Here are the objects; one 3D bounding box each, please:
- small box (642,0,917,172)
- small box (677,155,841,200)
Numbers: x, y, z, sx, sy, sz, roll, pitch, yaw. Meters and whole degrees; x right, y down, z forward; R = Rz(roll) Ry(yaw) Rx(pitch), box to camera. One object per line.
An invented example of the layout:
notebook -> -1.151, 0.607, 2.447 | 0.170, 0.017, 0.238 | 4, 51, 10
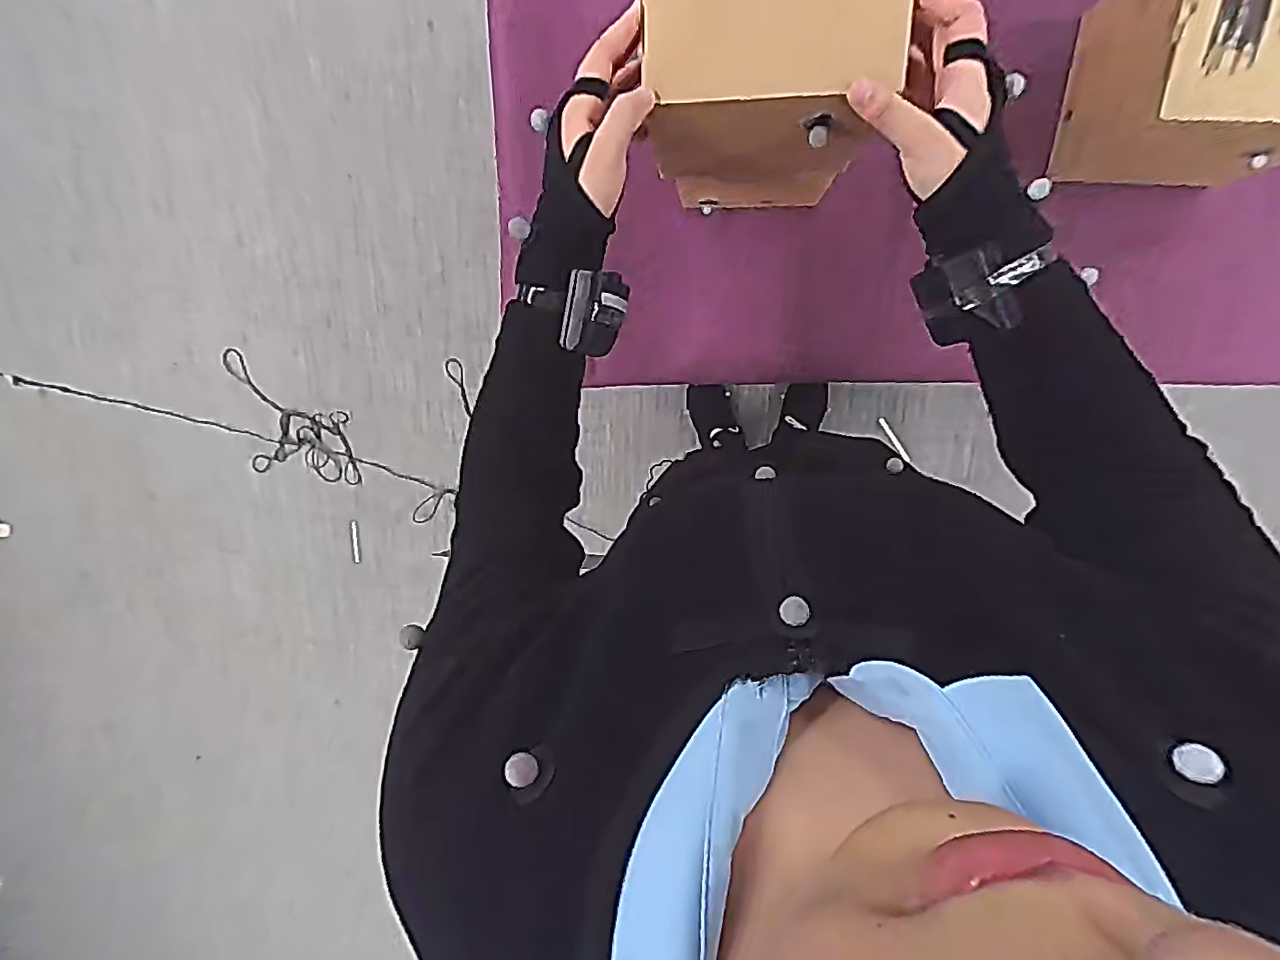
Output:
small box -> 0.098, -0.355, 0.419 | 0.179, 0.176, 0.168 | 2, 104, 7
small box -> 0.125, -0.408, 0.573 | 0.168, 0.176, 0.179 | 2, 103, 7
